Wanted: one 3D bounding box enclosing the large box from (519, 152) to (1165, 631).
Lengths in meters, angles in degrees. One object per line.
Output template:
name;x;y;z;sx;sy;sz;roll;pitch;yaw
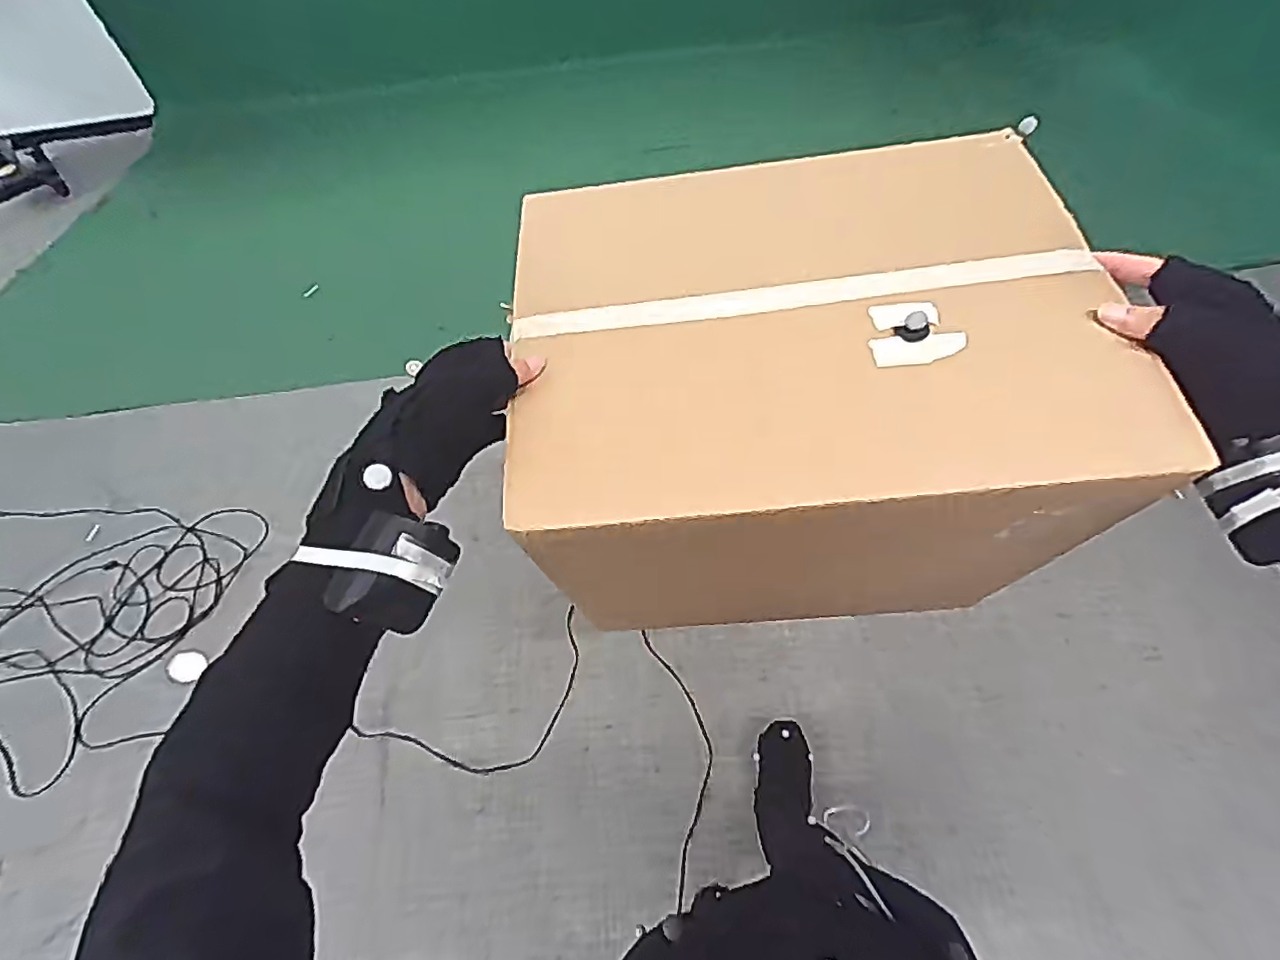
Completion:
large box;0.122;-0.053;0.532;0.408;0.320;0.320;-6;63;4
